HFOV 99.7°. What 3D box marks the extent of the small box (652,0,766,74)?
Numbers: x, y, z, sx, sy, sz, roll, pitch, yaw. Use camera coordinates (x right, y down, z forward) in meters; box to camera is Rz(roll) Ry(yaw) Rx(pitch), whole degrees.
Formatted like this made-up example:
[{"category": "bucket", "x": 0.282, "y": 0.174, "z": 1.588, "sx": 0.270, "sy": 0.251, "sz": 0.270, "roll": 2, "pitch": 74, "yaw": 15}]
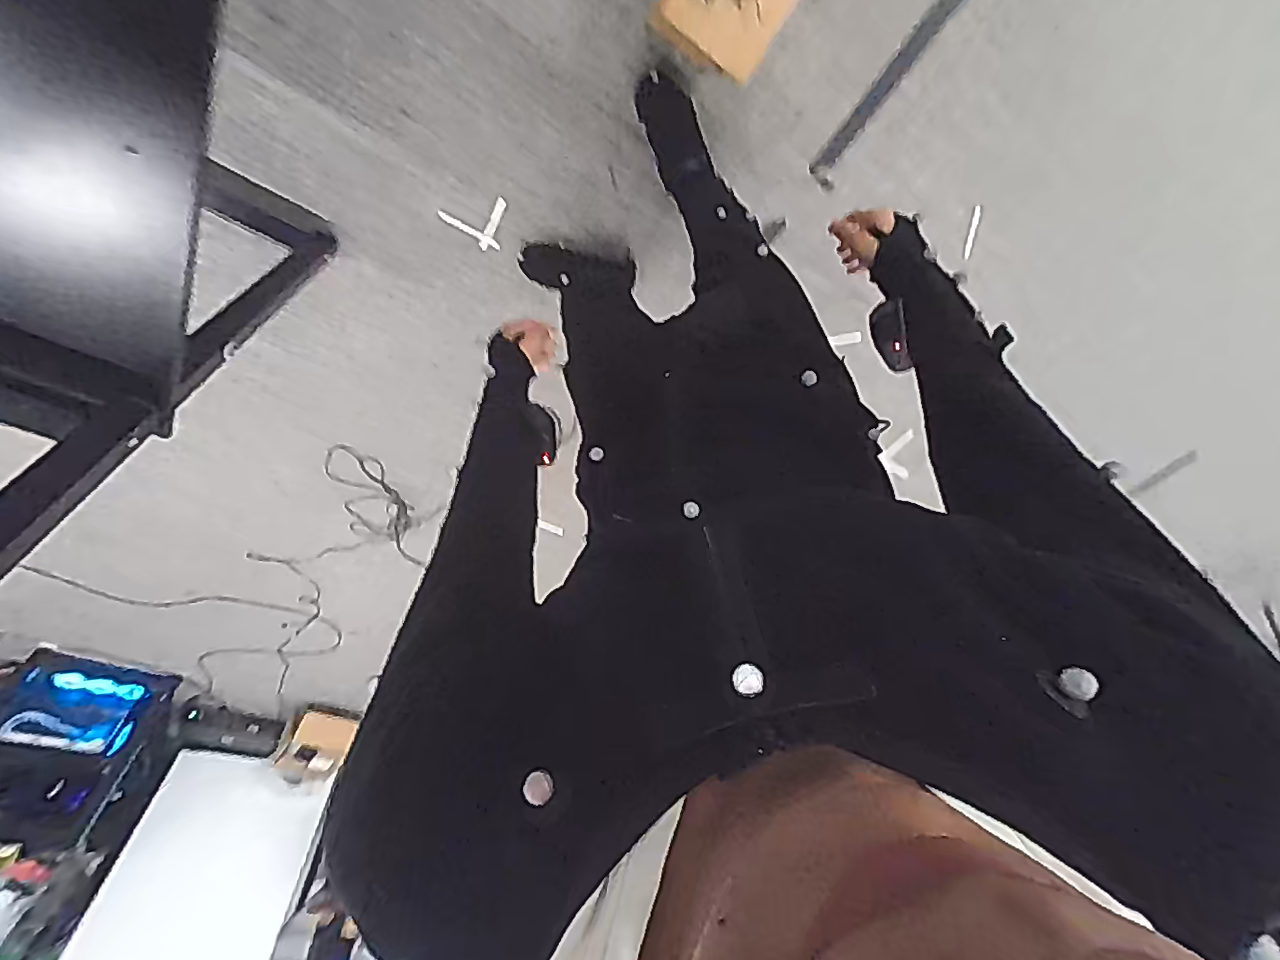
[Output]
[{"category": "small box", "x": 0.130, "y": -0.907, "z": 1.005, "sx": 0.168, "sy": 0.176, "sz": 0.179, "roll": 22, "pitch": 128, "yaw": -21}]
